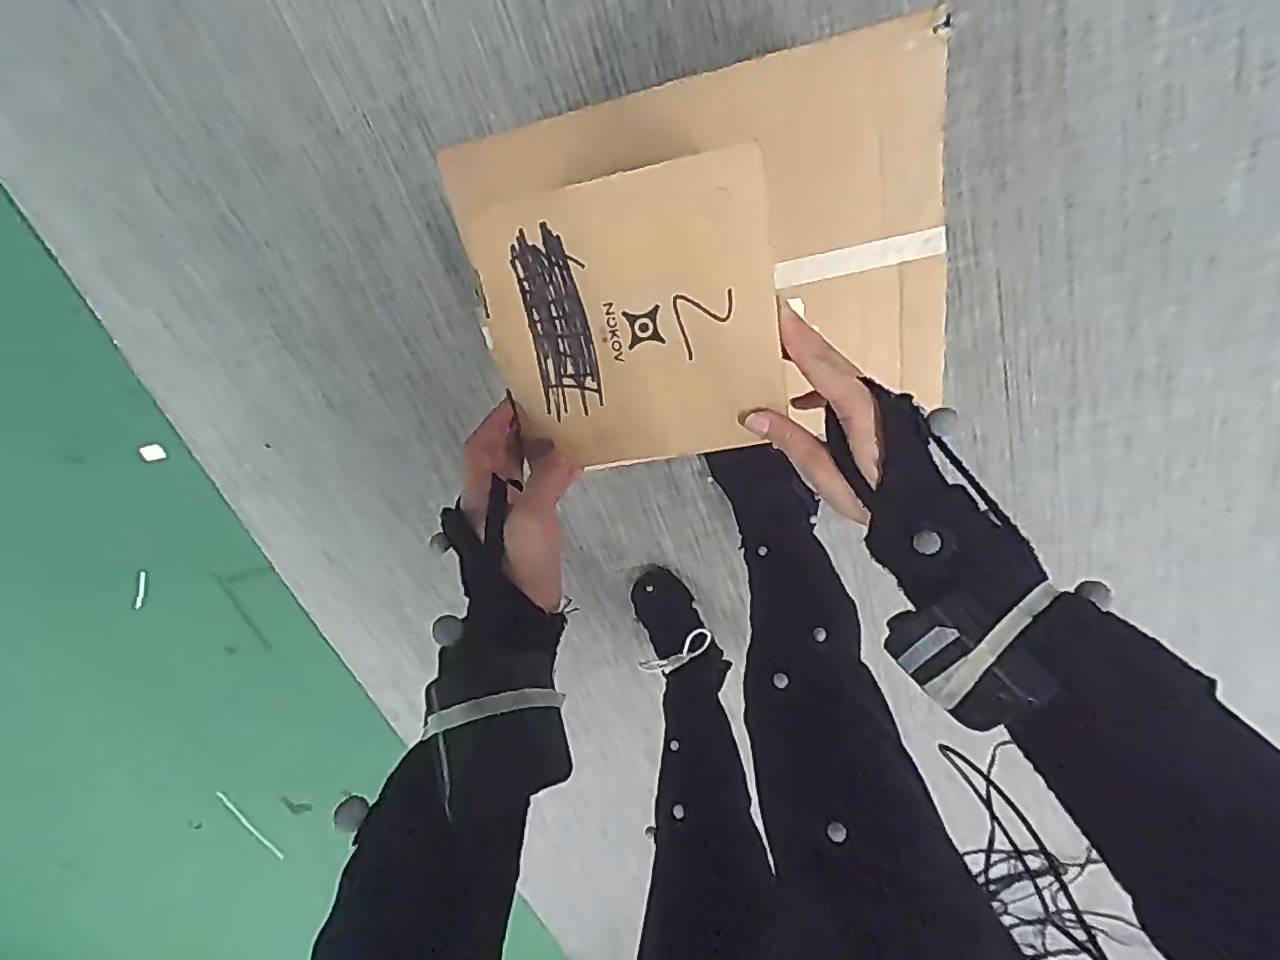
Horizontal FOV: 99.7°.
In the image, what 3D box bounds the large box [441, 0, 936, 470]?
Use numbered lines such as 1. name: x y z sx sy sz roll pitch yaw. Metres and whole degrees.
1. large box: 0.065 -0.242 0.619 0.408 0.320 0.320 -10 115 10
